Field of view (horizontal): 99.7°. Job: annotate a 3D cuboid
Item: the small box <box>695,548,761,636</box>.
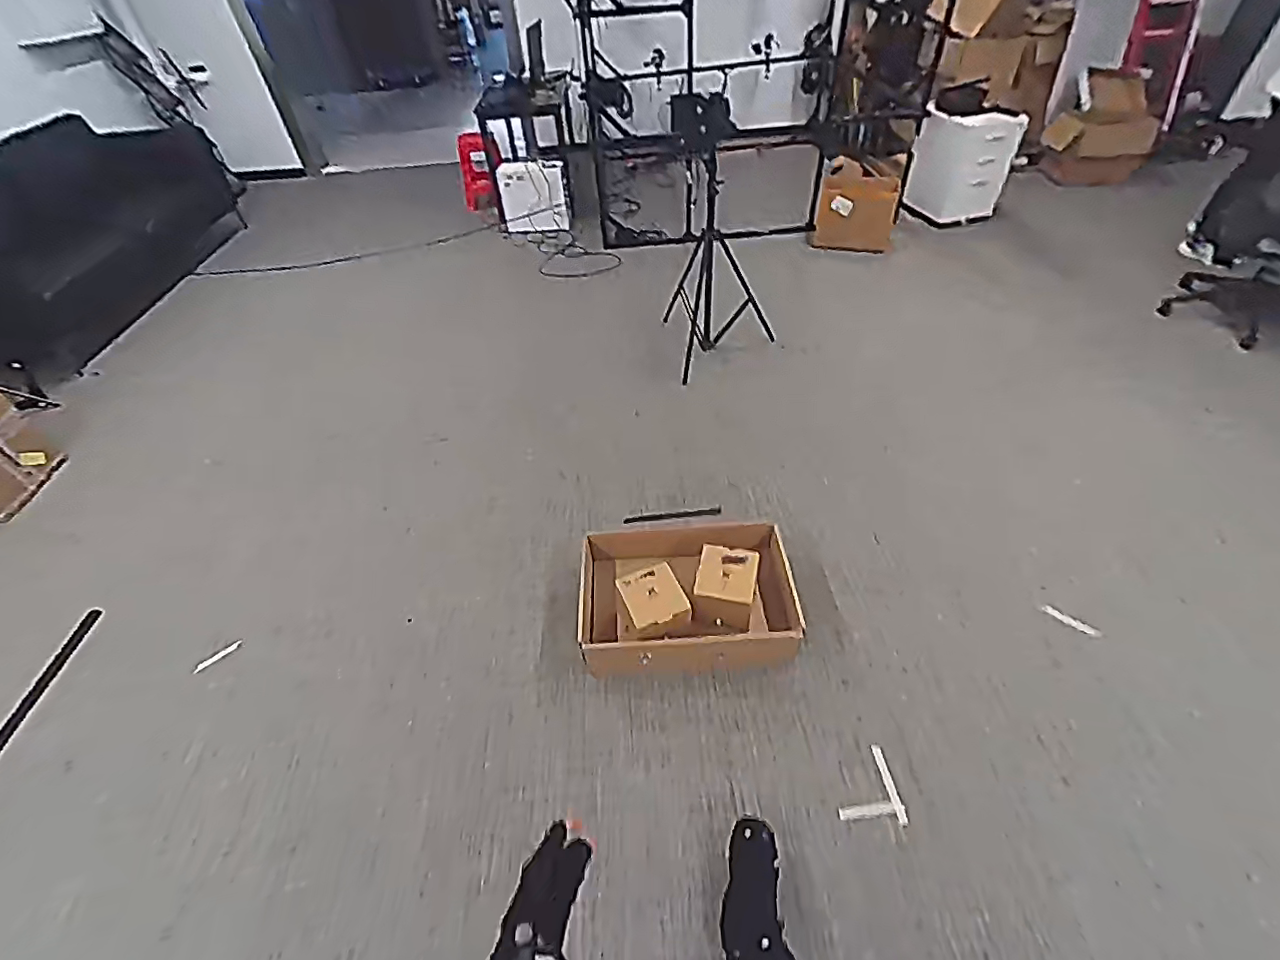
[{"bbox_3d":[0.260,0.331,1.598,0.168,0.176,0.179,8,47,14],"label":"small box"}]
